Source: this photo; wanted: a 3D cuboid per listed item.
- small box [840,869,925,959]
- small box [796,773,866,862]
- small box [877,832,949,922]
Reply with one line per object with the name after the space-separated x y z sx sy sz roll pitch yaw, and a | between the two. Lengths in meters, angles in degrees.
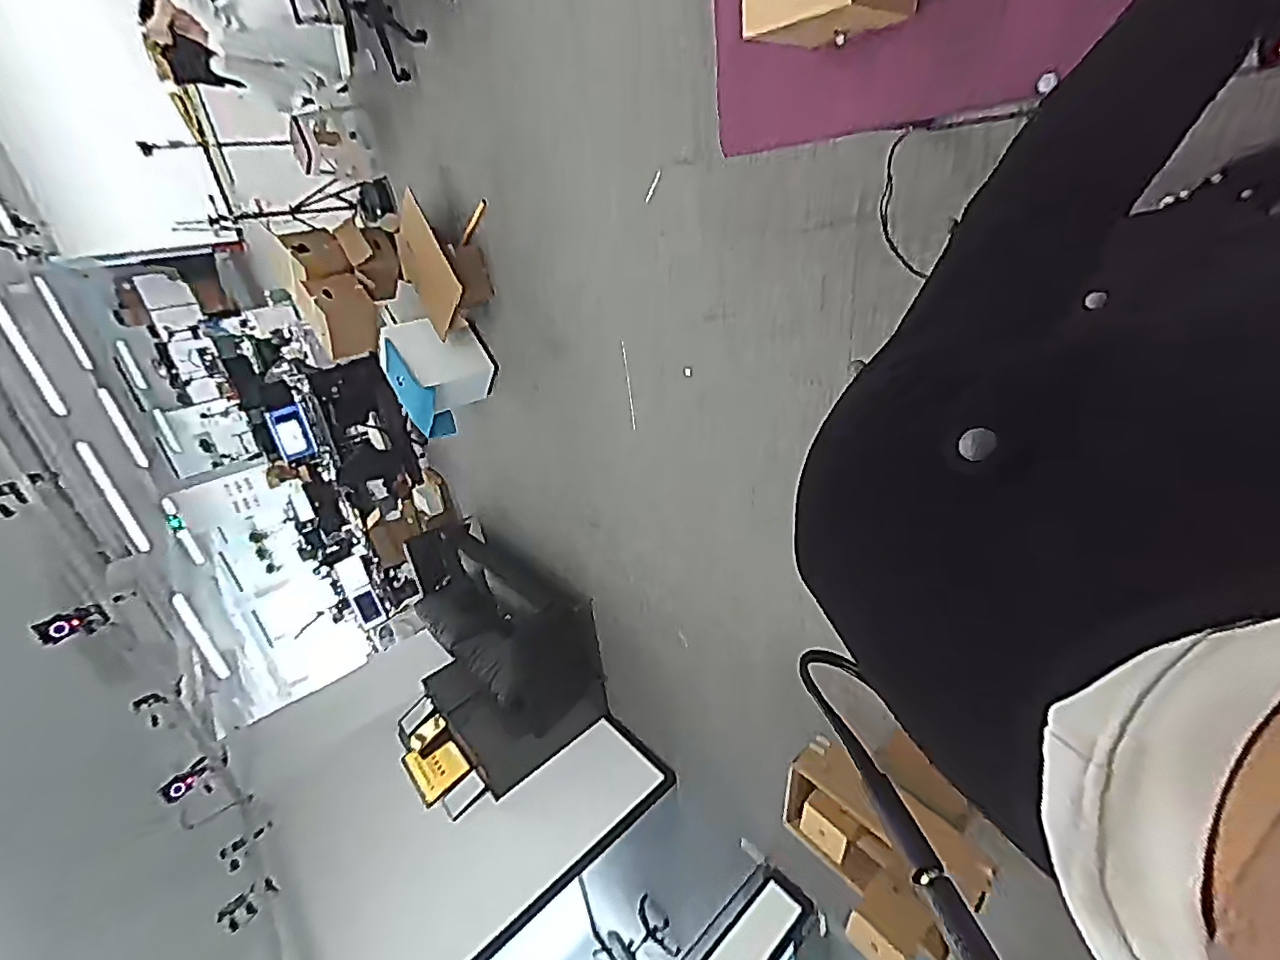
0.742 1.347 1.652 0.168 0.176 0.179 29 133 41 | small box
0.684 1.194 1.930 0.168 0.176 0.179 28 132 41 | small box
0.868 1.295 1.745 0.168 0.176 0.179 29 133 39 | small box
